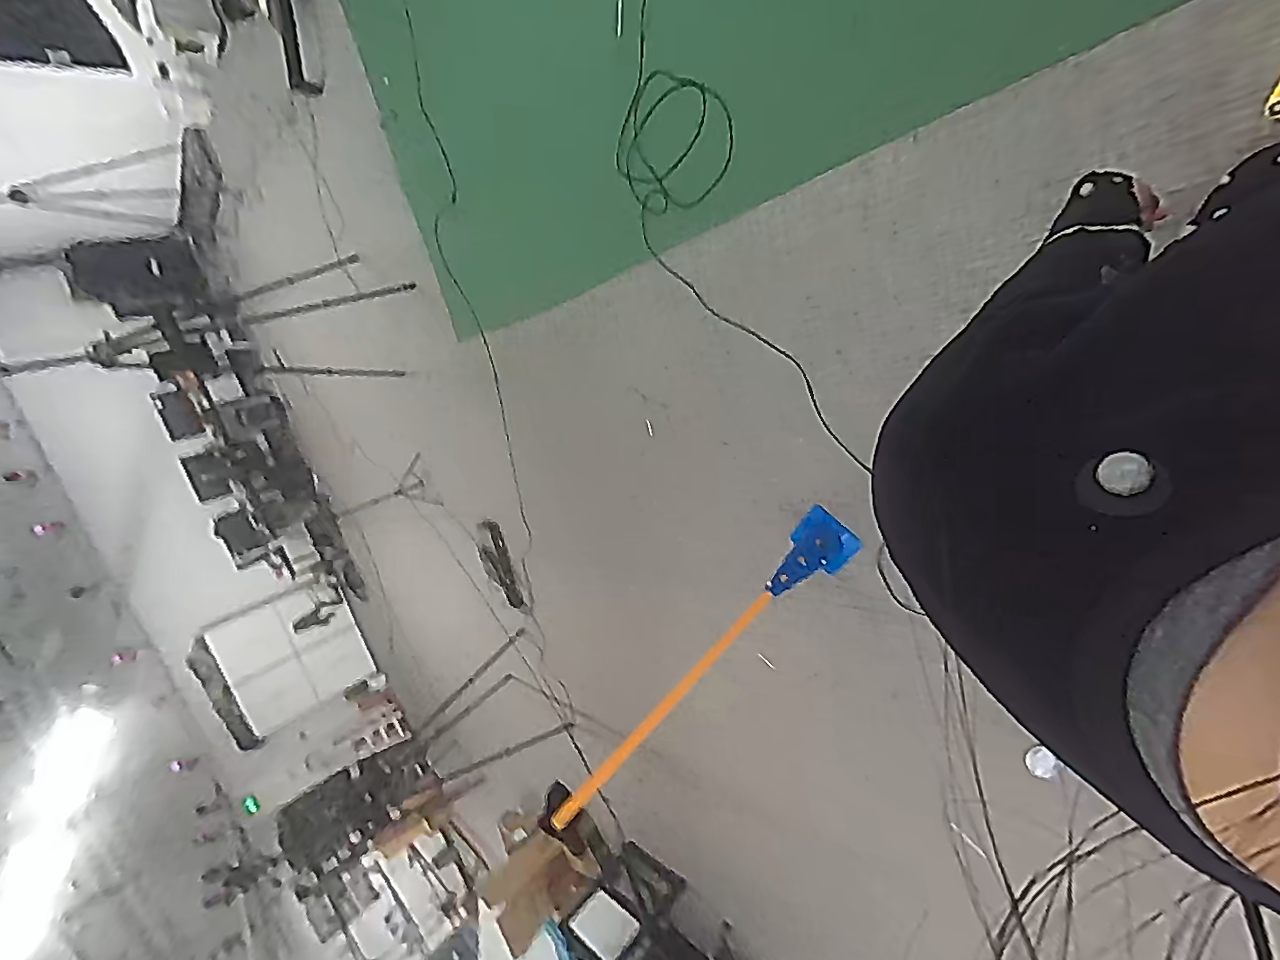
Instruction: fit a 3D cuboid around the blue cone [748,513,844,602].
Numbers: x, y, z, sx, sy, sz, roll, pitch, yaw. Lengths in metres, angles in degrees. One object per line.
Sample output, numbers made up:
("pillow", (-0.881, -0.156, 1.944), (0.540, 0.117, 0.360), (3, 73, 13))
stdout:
("blue cone", (0.474, 0.287, 1.736), (0.192, 0.380, 0.193), (43, 139, 21))
